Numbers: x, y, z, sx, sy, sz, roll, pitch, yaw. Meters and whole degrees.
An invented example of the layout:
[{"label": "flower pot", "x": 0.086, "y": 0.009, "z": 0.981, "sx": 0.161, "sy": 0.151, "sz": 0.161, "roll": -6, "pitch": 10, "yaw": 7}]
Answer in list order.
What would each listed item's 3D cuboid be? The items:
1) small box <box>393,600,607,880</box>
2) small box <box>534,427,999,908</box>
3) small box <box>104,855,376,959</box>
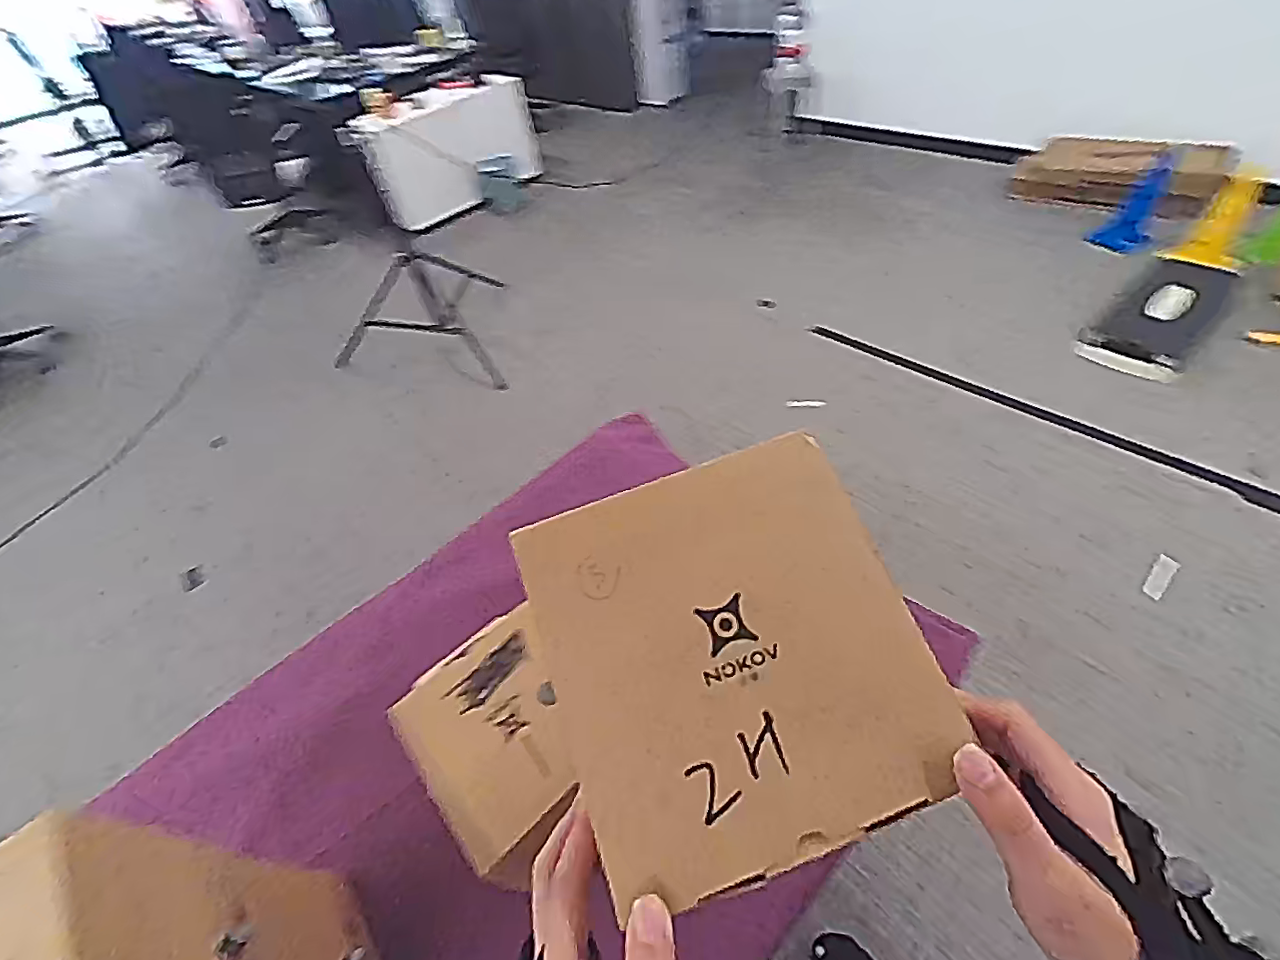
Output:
[{"label": "small box", "x": -0.110, "y": 0.265, "z": 0.552, "sx": 0.168, "sy": 0.176, "sz": 0.179, "roll": -38, "pitch": 53, "yaw": -22}, {"label": "small box", "x": 0.050, "y": 0.100, "z": 0.323, "sx": 0.168, "sy": 0.176, "sz": 0.179, "roll": -18, "pitch": 68, "yaw": -4}, {"label": "small box", "x": -0.332, "y": 0.450, "z": 0.429, "sx": 0.179, "sy": 0.176, "sz": 0.168, "roll": -39, "pitch": 53, "yaw": -24}]
